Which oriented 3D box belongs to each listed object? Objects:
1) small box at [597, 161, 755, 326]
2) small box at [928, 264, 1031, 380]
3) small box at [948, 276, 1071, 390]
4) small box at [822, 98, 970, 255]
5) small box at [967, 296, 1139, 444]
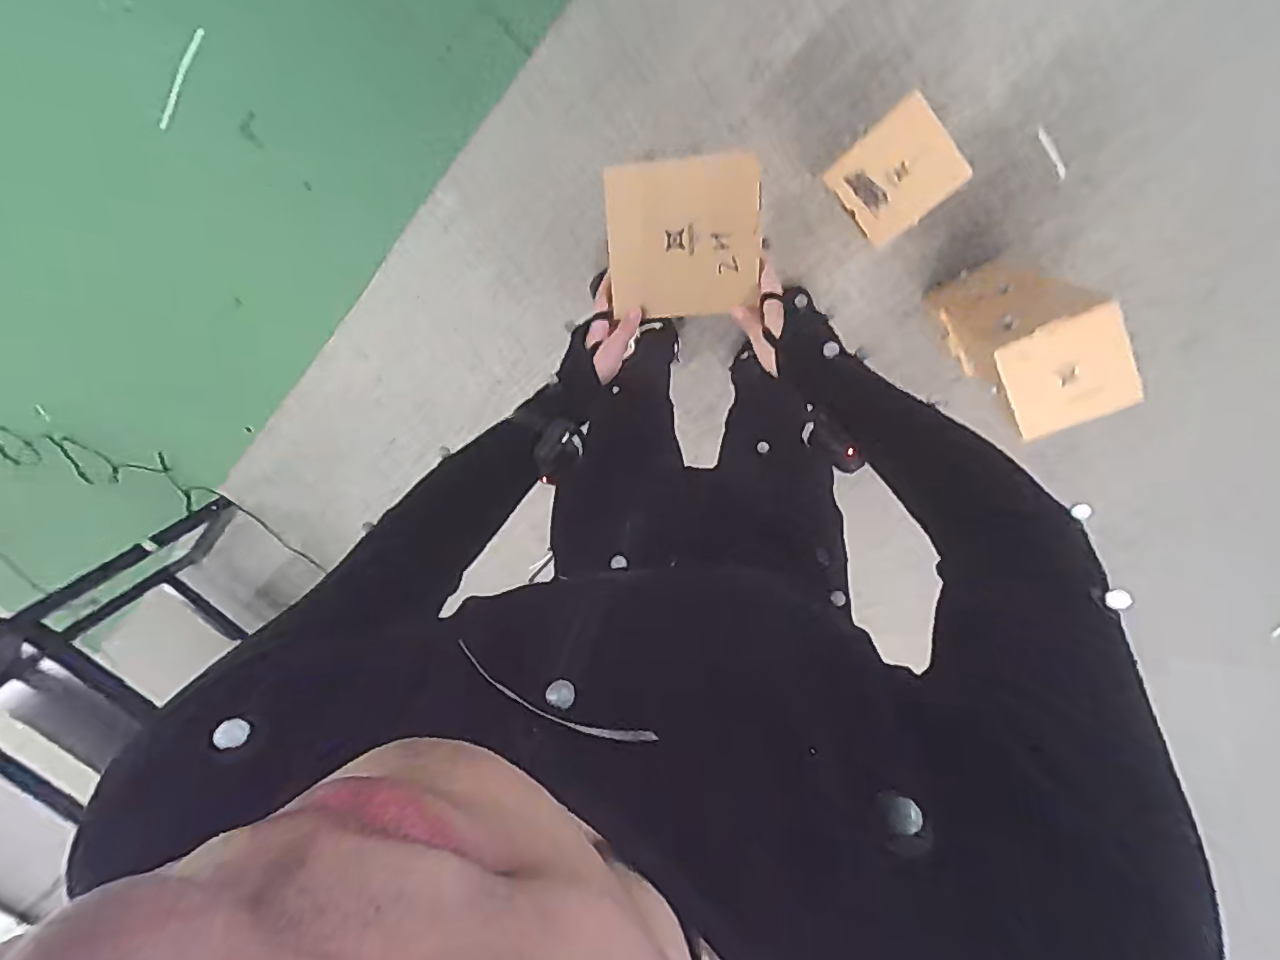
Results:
[{"bbox_3d":[0.056,-0.287,0.688,0.179,0.176,0.168,0,109,12],"label":"small box"},{"bbox_3d":[0.757,-0.350,1.188,0.179,0.176,0.168,-26,109,27],"label":"small box"},{"bbox_3d":[0.731,-0.270,1.049,0.168,0.176,0.179,-28,107,26],"label":"small box"},{"bbox_3d":[0.447,-0.538,0.977,0.179,0.176,0.168,-37,104,27],"label":"small box"},{"bbox_3d":[0.683,-0.193,0.913,0.168,0.176,0.179,-23,110,26],"label":"small box"}]
